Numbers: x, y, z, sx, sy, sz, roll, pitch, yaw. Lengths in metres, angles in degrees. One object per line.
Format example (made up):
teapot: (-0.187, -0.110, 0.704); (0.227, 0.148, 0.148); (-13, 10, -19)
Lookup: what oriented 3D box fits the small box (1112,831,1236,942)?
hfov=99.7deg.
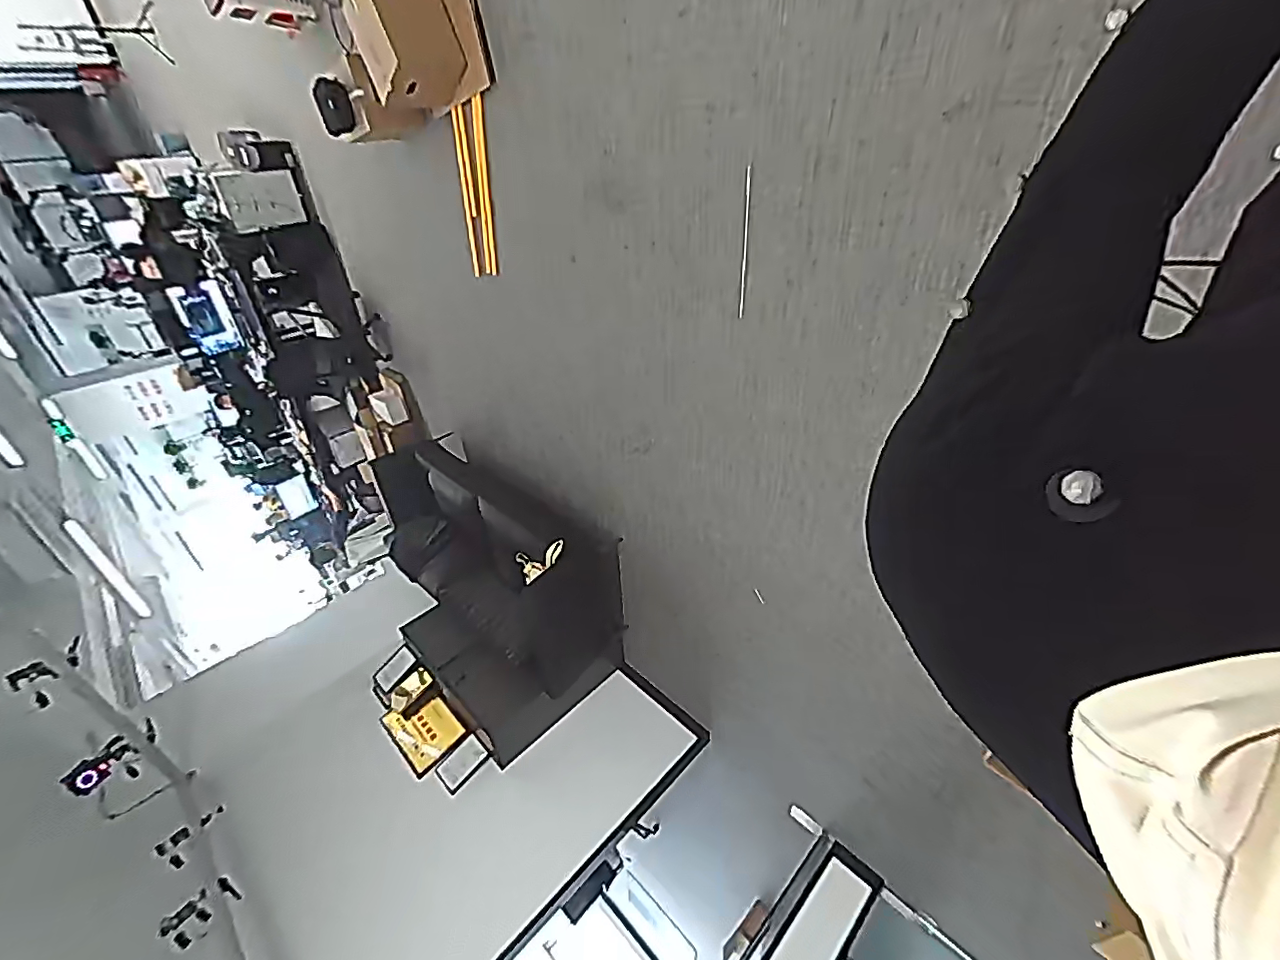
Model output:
small box: (1.393, 1.069, 1.409); (0.168, 0.176, 0.179); (33, 139, 34)

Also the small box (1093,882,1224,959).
small box: (1.272, 1.142, 1.325); (0.168, 0.176, 0.179); (34, 139, 34)

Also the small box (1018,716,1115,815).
small box: (1.308, 0.869, 1.654); (0.168, 0.176, 0.179); (31, 137, 33)
